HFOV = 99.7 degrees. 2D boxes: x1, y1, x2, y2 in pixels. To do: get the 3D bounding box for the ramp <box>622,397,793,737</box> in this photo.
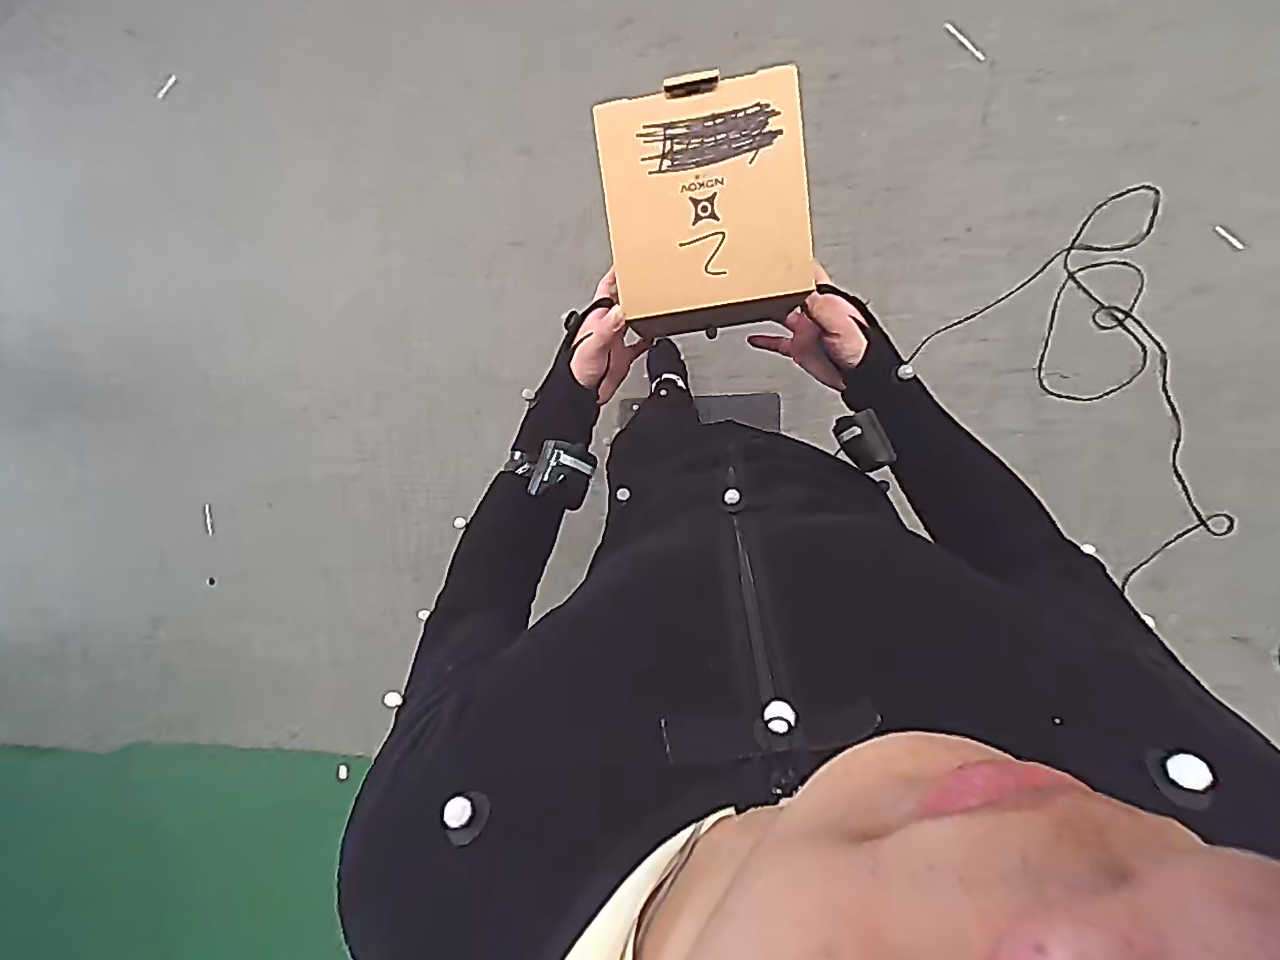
[{"bbox_3d":[0.192,0.253,1.624,0.509,0.206,0.991,-3,96,8],"label":"ramp"}]
